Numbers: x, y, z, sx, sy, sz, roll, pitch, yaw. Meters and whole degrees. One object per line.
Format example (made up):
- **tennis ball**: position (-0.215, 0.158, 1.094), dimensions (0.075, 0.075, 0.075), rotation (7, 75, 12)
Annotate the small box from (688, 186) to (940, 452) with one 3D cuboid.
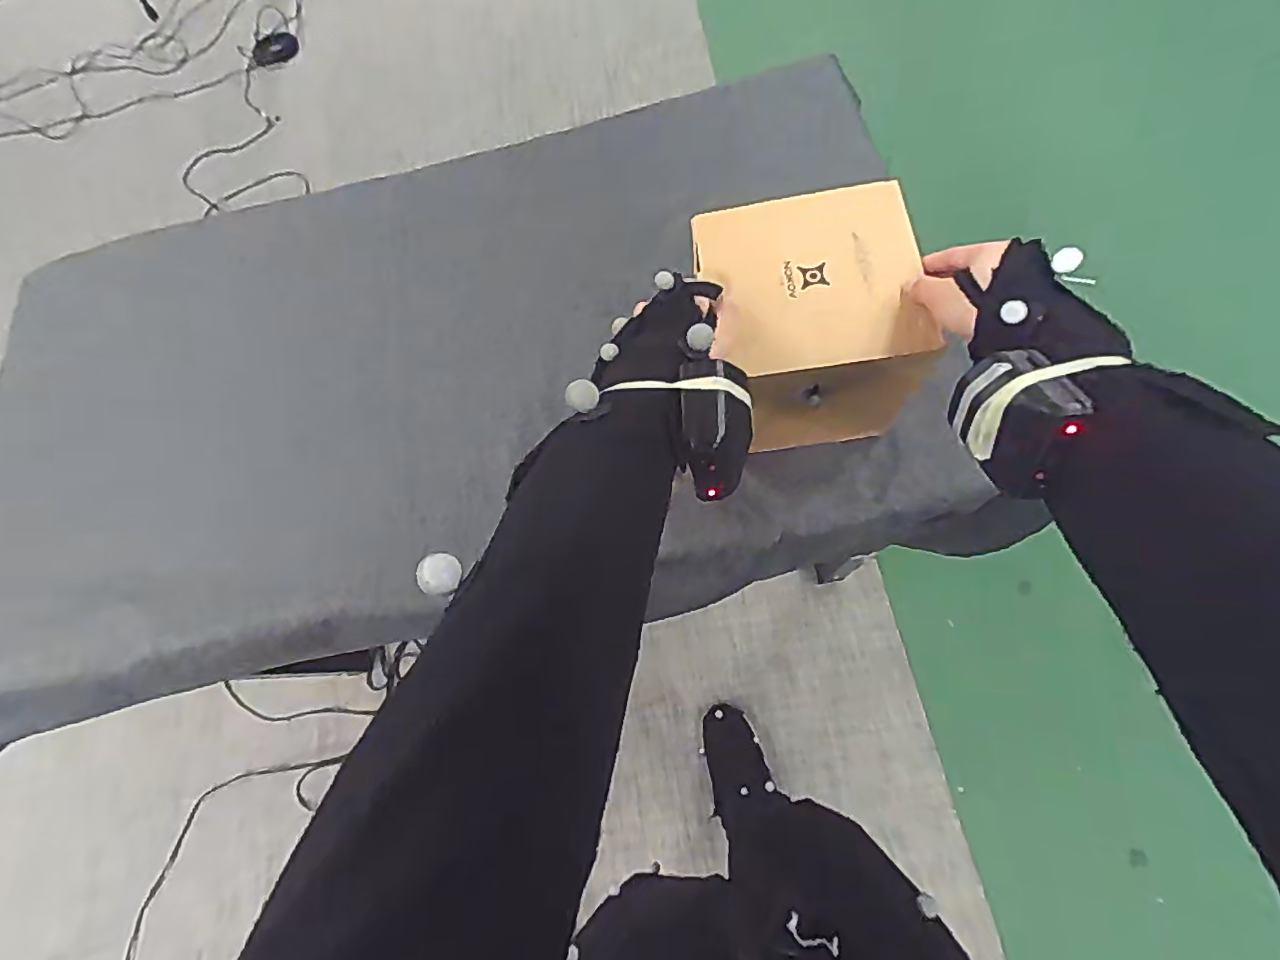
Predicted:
- **small box**: position (0.145, -0.135, 0.511), dimensions (0.179, 0.176, 0.168), rotation (-7, 71, 6)
